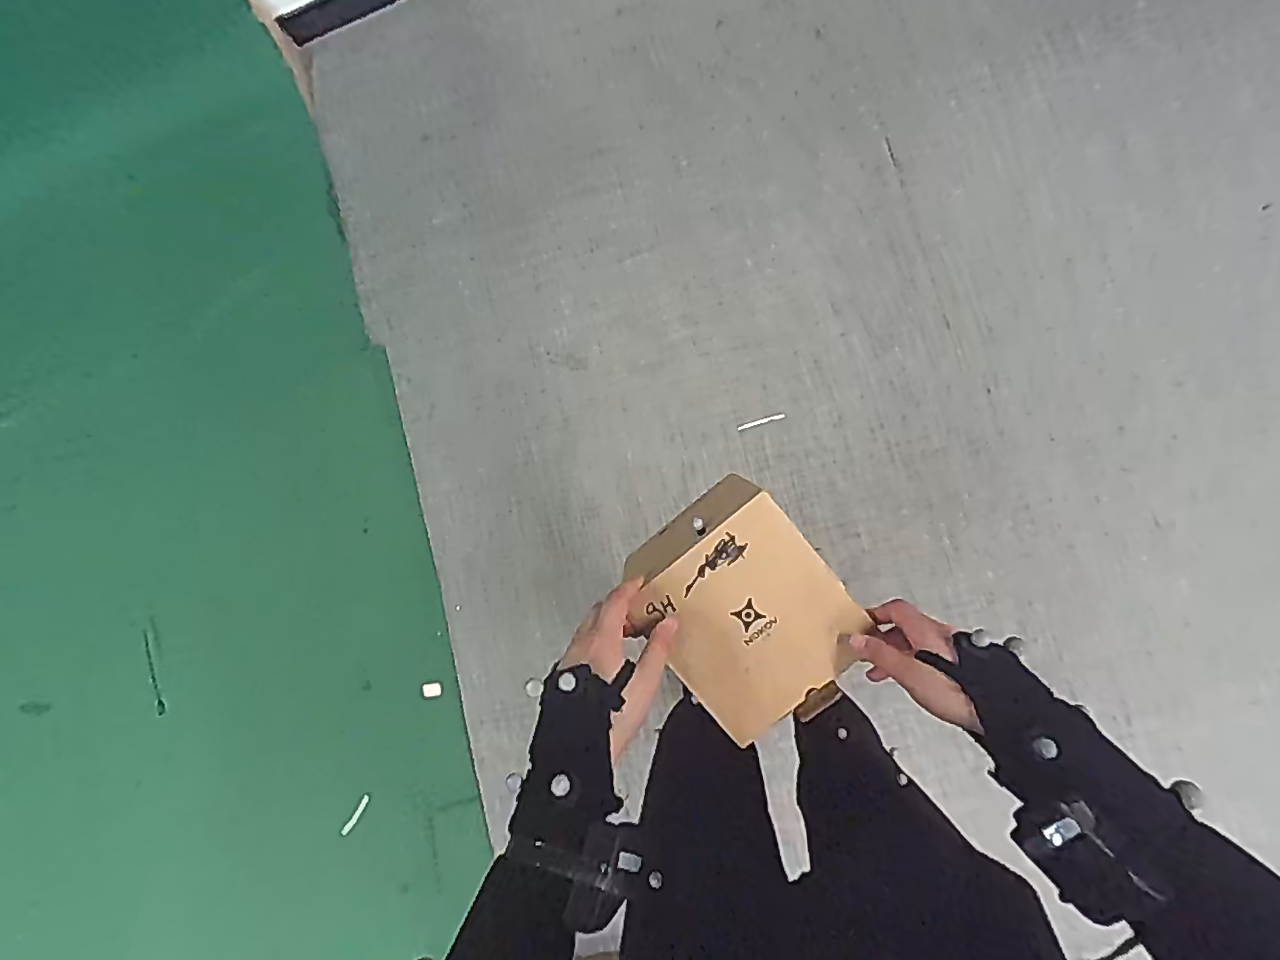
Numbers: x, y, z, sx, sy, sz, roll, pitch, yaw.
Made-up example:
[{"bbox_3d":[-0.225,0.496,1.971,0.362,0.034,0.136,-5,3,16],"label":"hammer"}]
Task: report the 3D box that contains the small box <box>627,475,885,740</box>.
[{"bbox_3d":[0.104,0.112,0.554,0.168,0.176,0.179,-38,95,3],"label":"small box"}]
